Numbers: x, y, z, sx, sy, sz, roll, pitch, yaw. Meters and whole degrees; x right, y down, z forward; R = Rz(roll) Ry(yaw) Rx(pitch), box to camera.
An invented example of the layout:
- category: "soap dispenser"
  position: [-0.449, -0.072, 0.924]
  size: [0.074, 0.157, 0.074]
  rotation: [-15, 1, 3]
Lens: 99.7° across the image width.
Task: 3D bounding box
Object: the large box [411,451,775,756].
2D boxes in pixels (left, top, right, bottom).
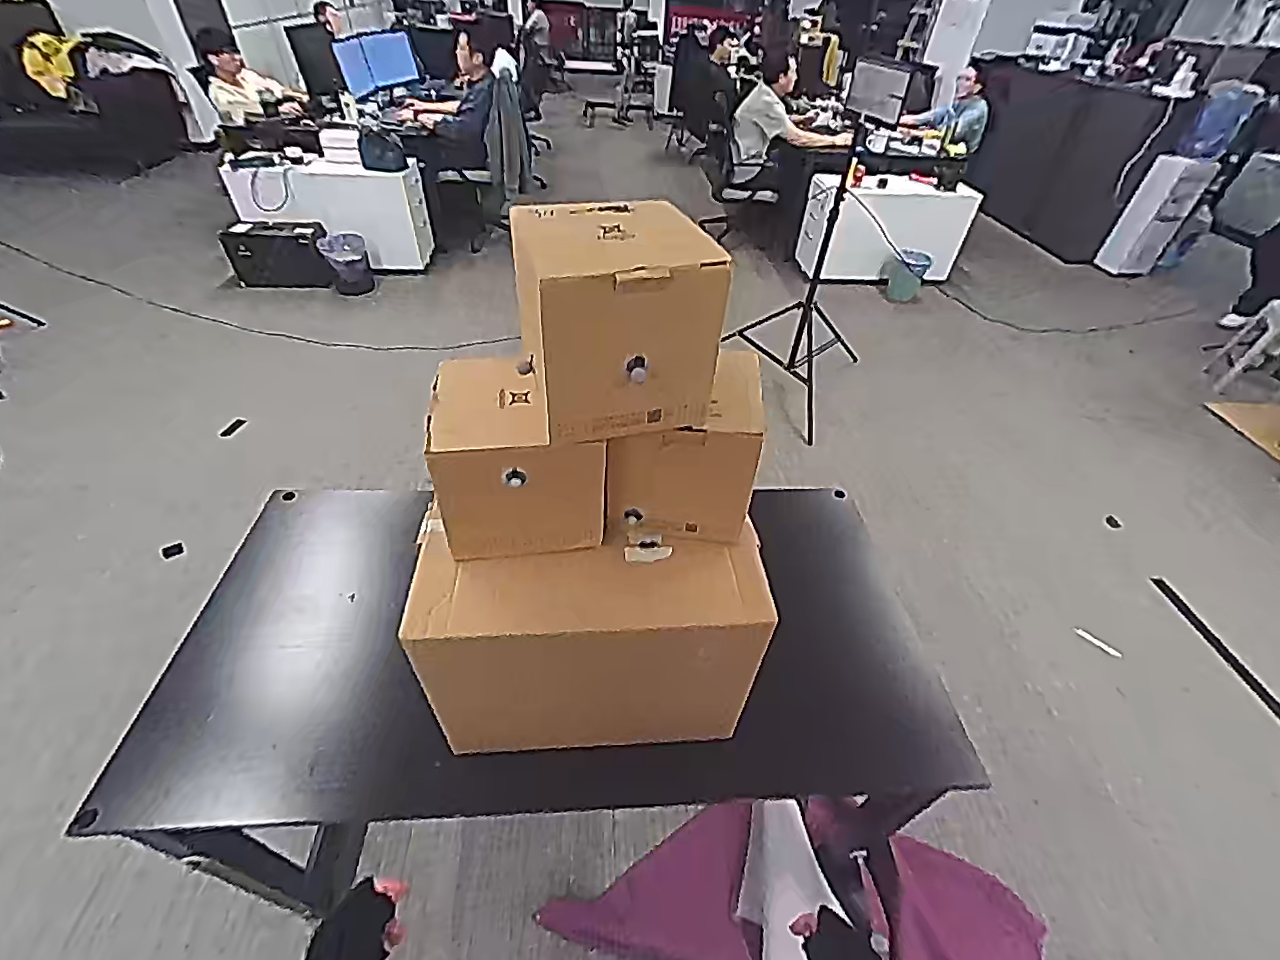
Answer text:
- category: "large box"
  position: [-0.069, 0.169, 0.788]
  size: [0.408, 0.320, 0.320]
  rotation: [-1, 43, -7]

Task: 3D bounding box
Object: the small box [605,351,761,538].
- category: "small box"
  position: [0.052, -0.048, 0.673]
  size: [0.168, 0.176, 0.179]
  rotation: [6, 41, 3]

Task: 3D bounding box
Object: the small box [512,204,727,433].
- category: "small box"
  position: [-0.029, -0.161, 0.549]
  size: [0.168, 0.176, 0.179]
  rotation: [-10, 45, -15]
